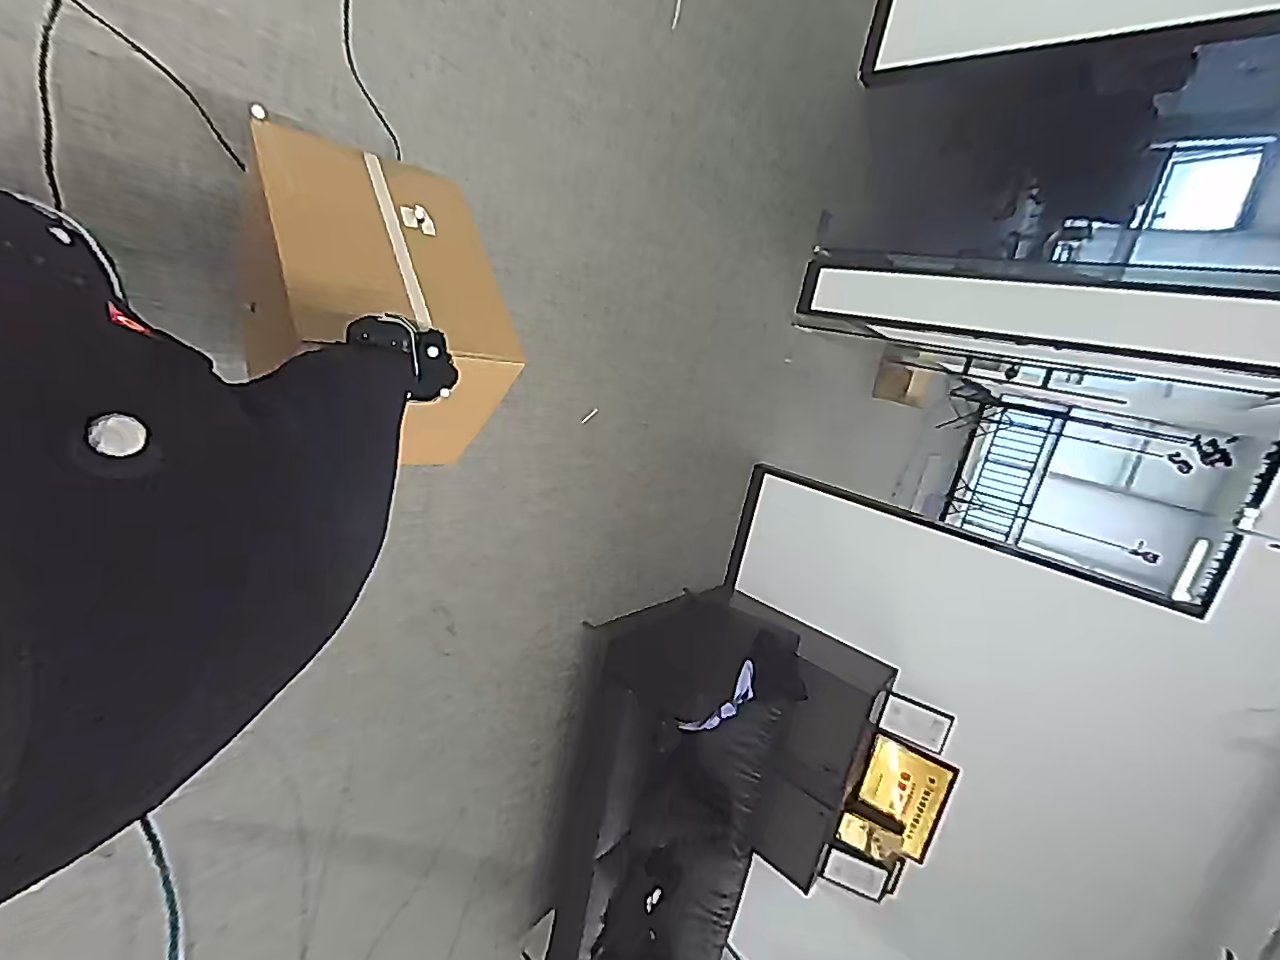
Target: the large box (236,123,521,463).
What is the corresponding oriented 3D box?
[{"bbox_3d":[-0.458,-0.279,0.914,0.320,0.408,0.320,-5,154,-44],"label":"large box"}]
